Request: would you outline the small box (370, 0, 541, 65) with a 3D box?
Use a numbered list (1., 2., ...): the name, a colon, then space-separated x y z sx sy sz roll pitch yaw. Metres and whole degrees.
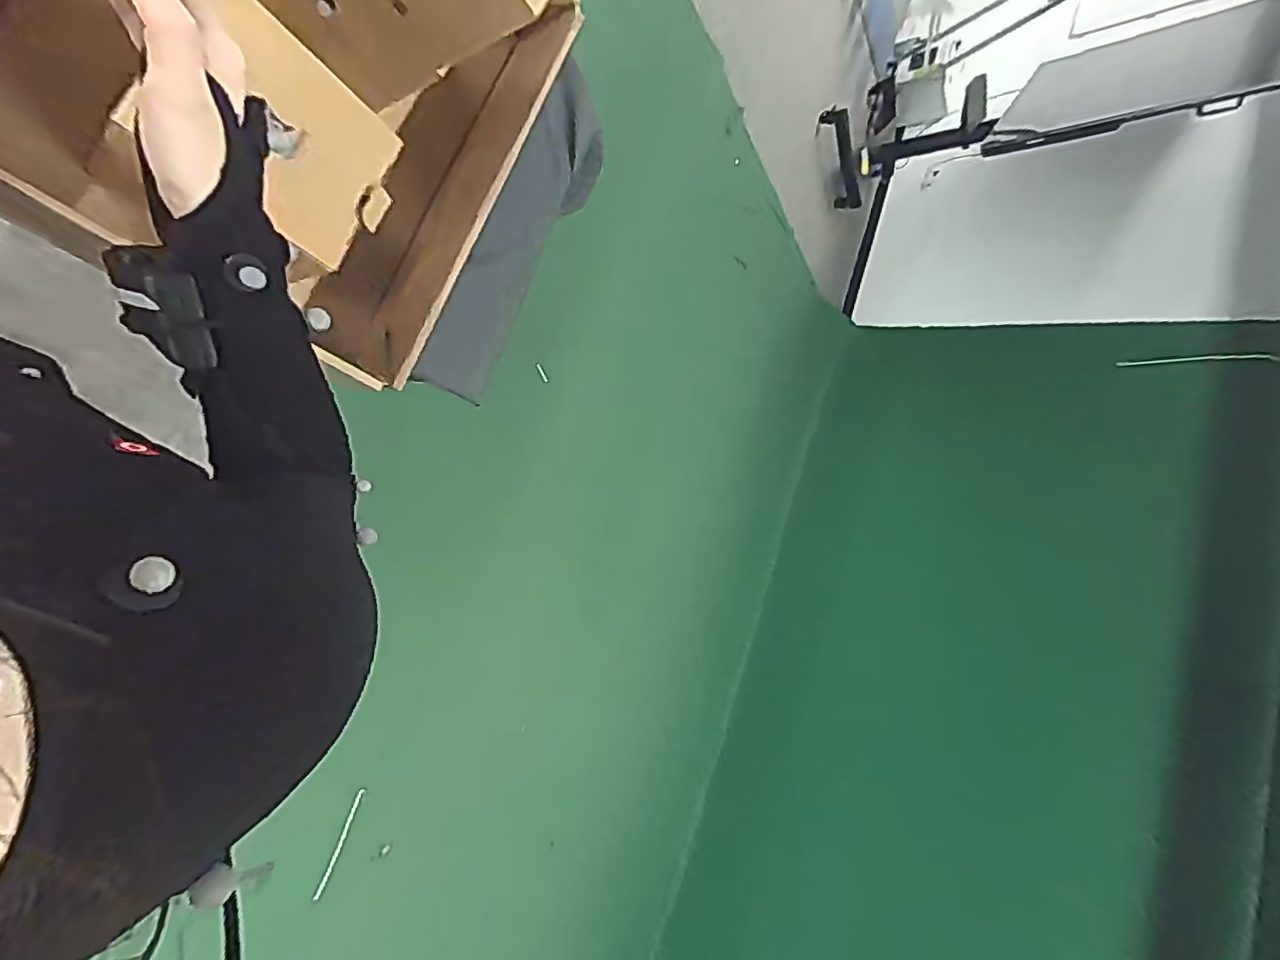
1. small box: -0.175 -0.538 0.496 0.168 0.176 0.179 37 72 -50
